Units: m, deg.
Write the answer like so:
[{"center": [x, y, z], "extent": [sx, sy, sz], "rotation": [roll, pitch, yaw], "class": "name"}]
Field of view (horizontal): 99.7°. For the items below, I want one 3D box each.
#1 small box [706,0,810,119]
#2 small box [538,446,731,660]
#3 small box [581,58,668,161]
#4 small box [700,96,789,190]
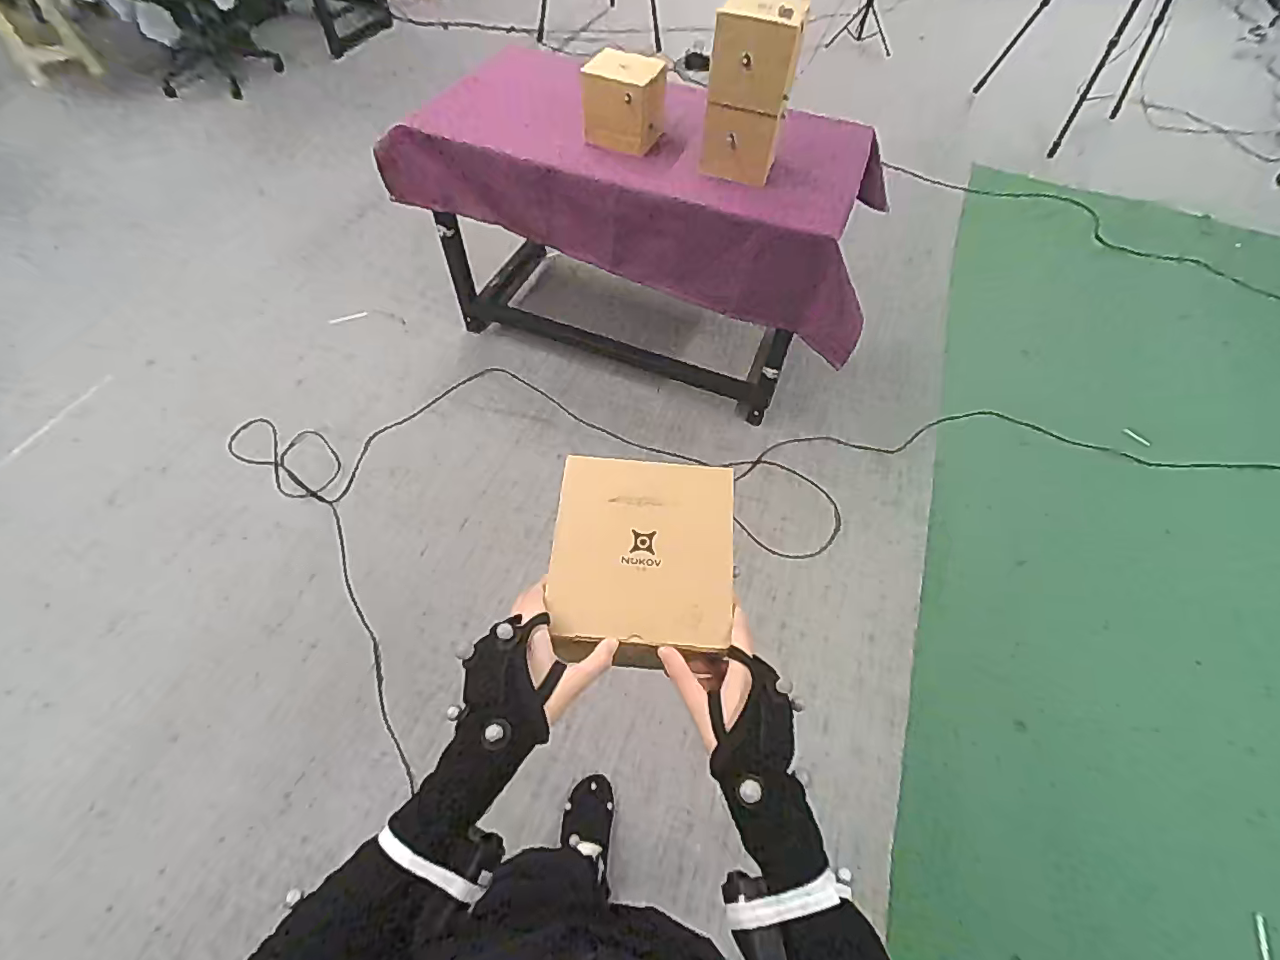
[{"center": [0.264, -0.956, 1.234], "extent": [0.179, 0.176, 0.168], "rotation": [18, 57, 10], "class": "small box"}, {"center": [0.000, 0.085, 0.570], "extent": [0.168, 0.176, 0.179], "rotation": [5, 63, 1], "class": "small box"}, {"center": [-0.041, -0.979, 1.436], "extent": [0.179, 0.176, 0.168], "rotation": [21, 57, 10], "class": "small box"}, {"center": [0.259, -0.867, 1.373], "extent": [0.179, 0.176, 0.168], "rotation": [17, 57, 9], "class": "small box"}]
